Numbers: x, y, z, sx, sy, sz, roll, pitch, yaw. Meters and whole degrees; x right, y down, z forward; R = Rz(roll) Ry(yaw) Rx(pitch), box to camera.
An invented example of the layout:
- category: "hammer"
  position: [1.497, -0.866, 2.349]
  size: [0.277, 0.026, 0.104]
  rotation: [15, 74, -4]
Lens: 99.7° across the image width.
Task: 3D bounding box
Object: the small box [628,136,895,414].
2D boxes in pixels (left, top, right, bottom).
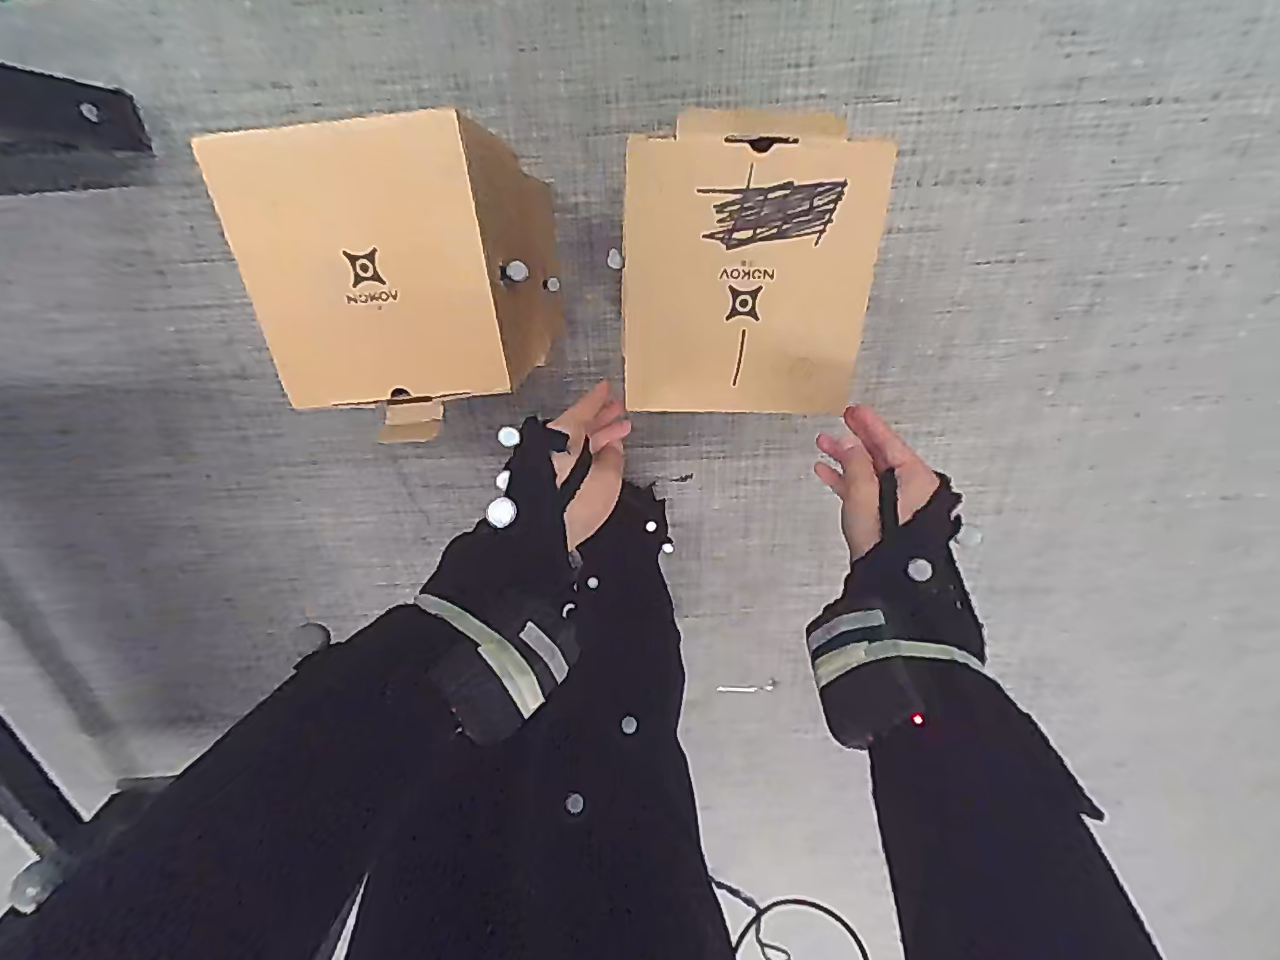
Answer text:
- category: "small box"
  position: [0.075, -0.164, 0.439]
  size: [0.168, 0.176, 0.179]
  rotation: [2, 116, 1]
